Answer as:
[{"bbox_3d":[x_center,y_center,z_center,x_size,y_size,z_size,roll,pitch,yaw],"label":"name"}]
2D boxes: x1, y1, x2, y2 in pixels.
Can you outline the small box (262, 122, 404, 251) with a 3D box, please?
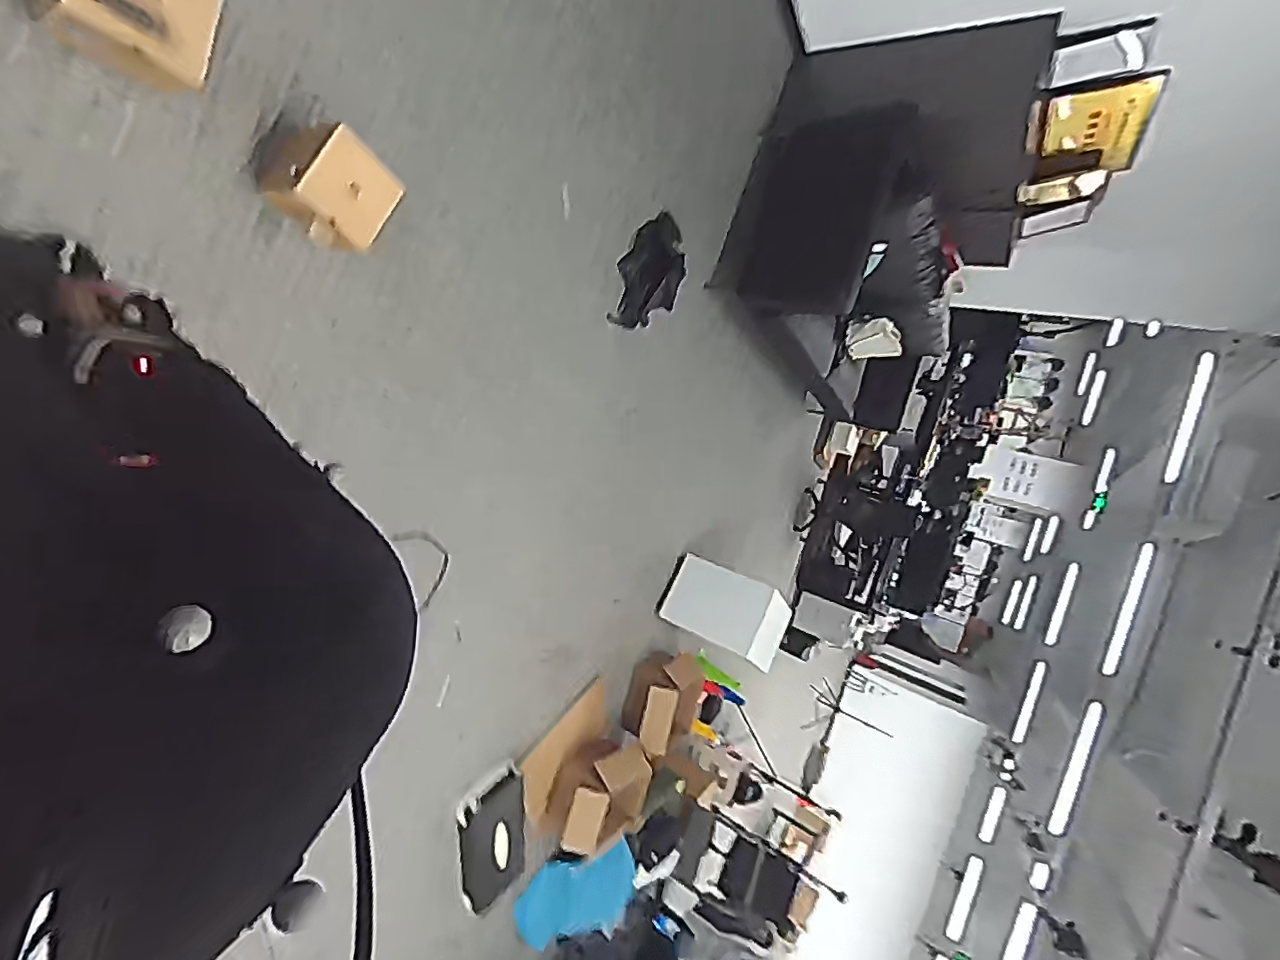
[{"bbox_3d":[-0.647,-0.616,1.140,0.179,0.176,0.168,-64,149,-10],"label":"small box"}]
